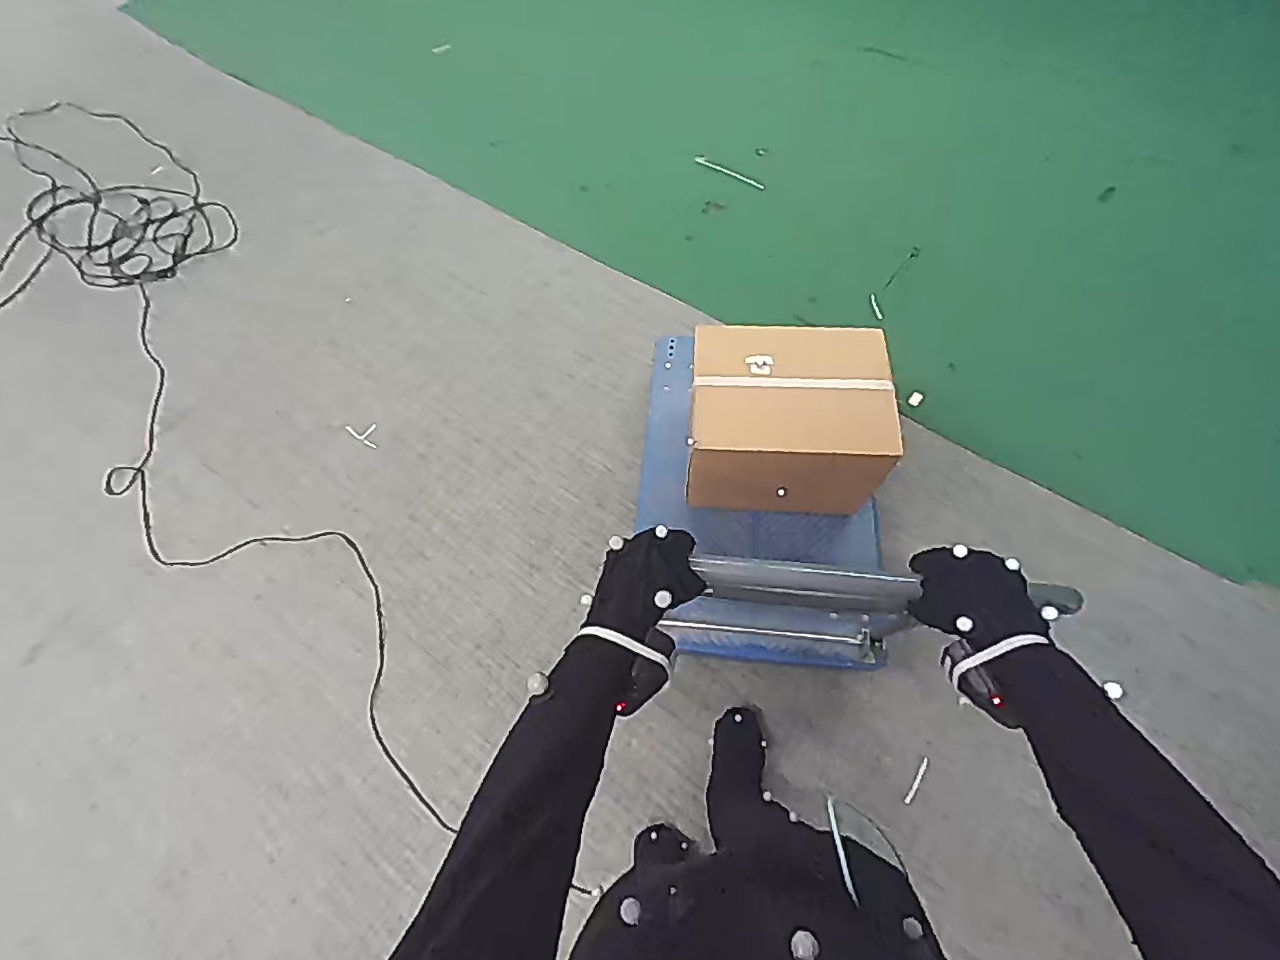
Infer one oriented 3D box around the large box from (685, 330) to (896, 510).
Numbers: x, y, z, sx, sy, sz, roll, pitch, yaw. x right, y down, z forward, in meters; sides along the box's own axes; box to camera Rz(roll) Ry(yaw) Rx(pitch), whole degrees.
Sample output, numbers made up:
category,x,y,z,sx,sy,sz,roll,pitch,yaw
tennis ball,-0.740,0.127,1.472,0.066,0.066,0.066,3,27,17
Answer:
category,x,y,z,sx,sy,sz,roll,pitch,yaw
large box,0.313,-0.126,1.252,0.408,0.320,0.320,2,64,4
